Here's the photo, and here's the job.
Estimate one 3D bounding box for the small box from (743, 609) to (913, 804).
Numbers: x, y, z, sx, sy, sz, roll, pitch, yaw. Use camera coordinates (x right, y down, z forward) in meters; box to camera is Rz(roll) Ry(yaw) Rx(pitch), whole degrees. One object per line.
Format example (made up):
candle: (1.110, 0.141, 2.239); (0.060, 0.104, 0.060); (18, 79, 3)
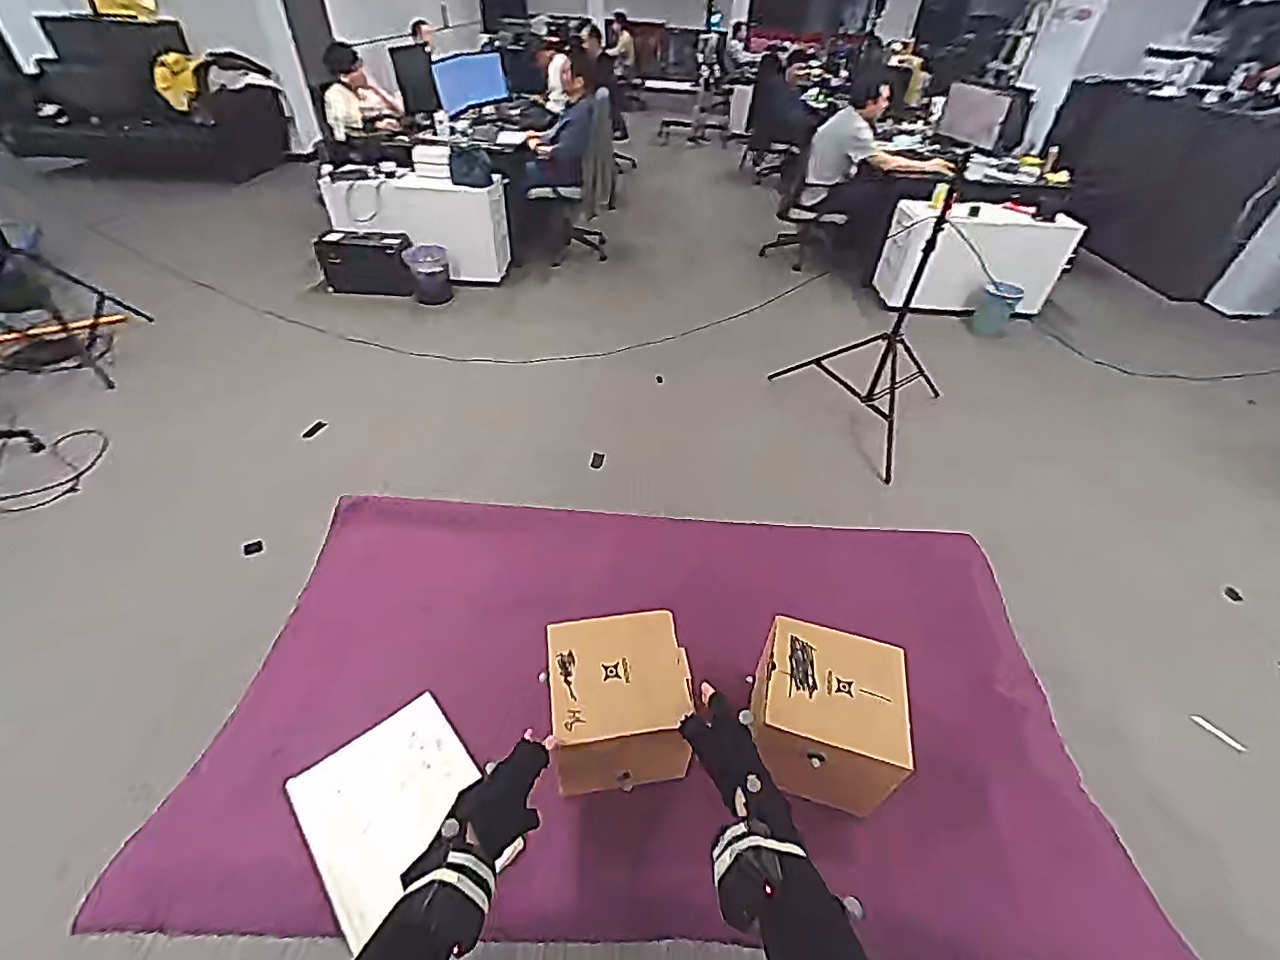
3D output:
small box: (0.248, 0.312, 0.743); (0.179, 0.176, 0.168); (14, 42, 10)

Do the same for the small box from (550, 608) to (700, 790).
small box: (-0.031, 0.299, 0.743); (0.179, 0.176, 0.168); (-4, 41, -10)
